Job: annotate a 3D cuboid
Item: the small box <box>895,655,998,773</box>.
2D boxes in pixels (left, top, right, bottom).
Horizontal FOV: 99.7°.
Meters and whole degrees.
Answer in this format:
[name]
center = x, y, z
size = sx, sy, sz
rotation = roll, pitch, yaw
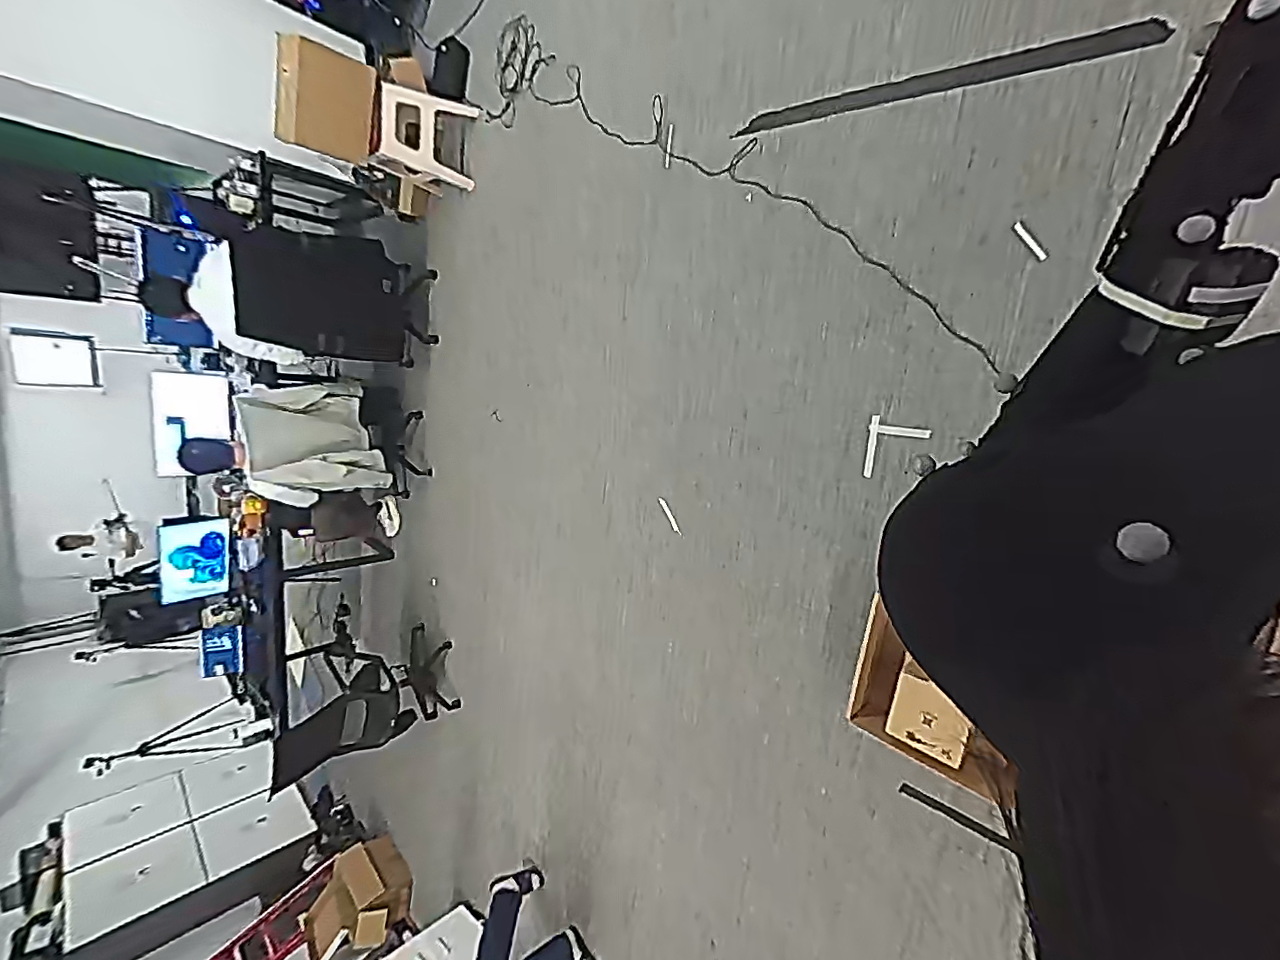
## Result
[small box]
center = 0.745, 0.553, 1.308
size = 0.168, 0.176, 0.179
rotation = 19, 106, 38
